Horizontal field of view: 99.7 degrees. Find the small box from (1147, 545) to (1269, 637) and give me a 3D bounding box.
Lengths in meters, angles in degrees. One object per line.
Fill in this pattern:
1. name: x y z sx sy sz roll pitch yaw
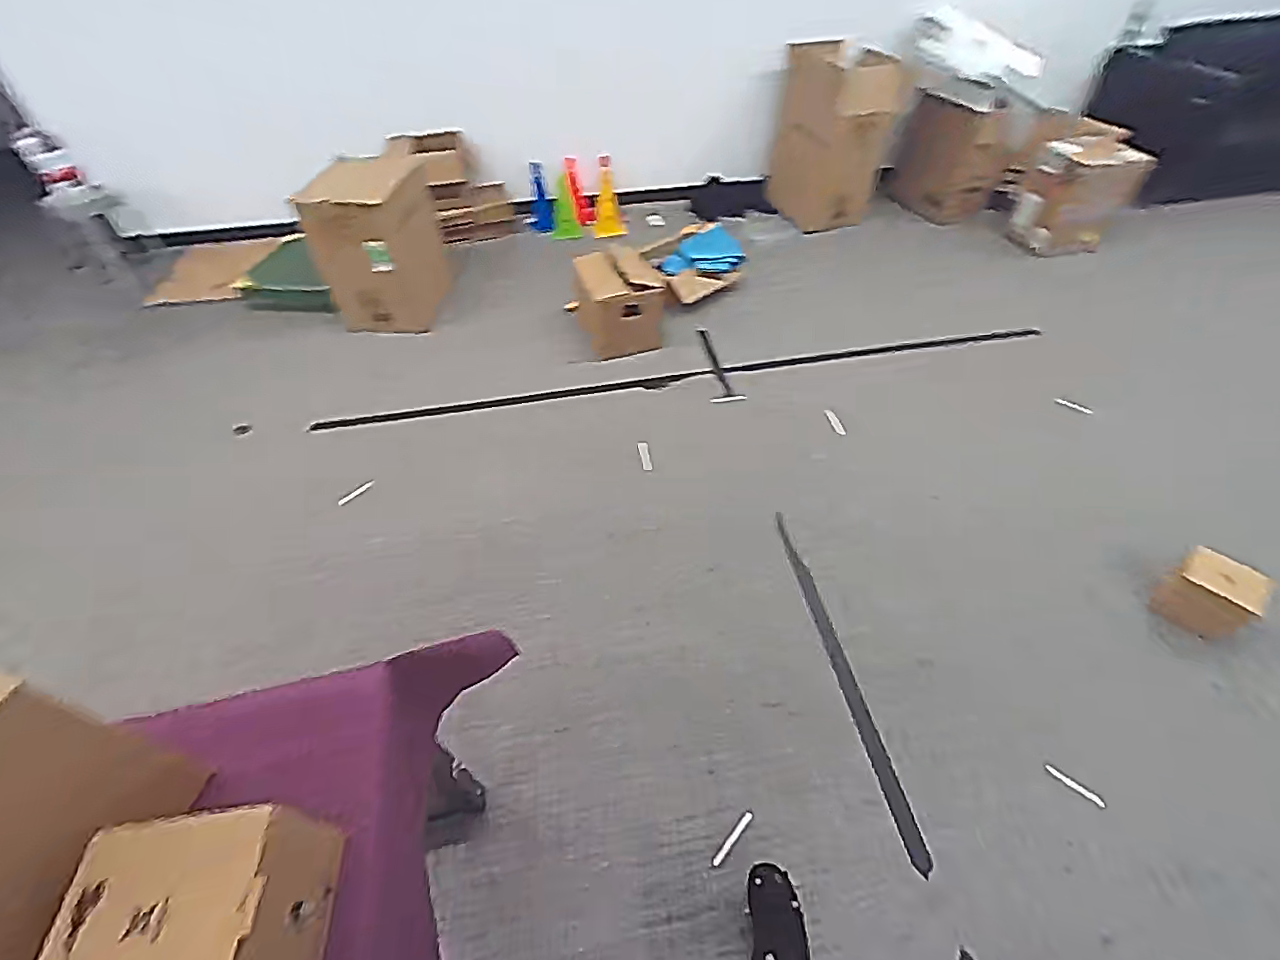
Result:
1. small box: 1.654 0.331 1.581 0.179 0.176 0.168 34 56 29
